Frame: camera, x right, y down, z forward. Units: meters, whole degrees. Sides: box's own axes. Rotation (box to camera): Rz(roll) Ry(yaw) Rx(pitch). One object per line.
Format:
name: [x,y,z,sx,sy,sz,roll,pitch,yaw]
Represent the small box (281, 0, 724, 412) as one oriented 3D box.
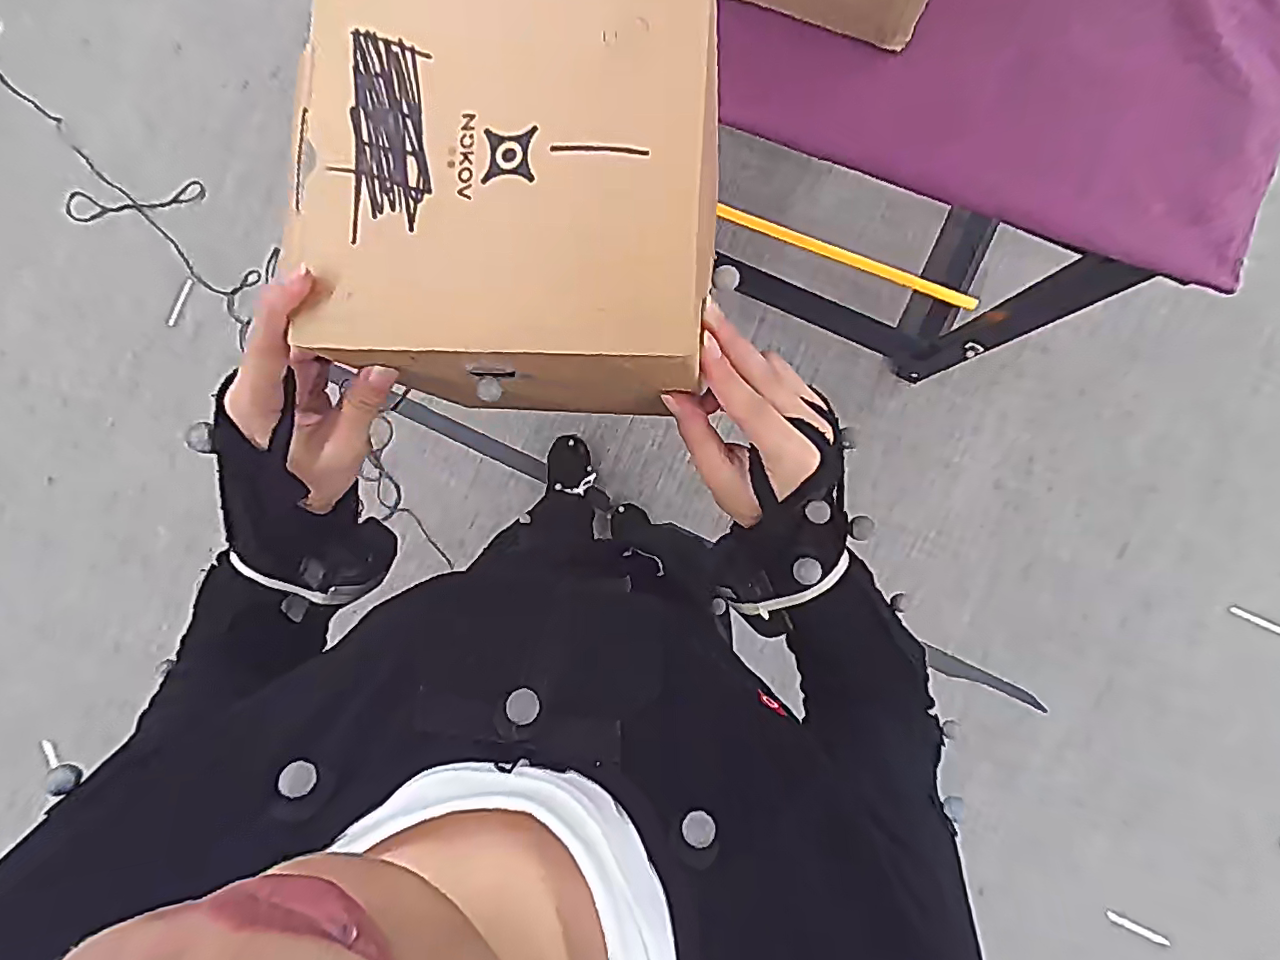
small box: [-0.048,-0.133,0.295,0.179,0.176,0.168,4,89,8]
